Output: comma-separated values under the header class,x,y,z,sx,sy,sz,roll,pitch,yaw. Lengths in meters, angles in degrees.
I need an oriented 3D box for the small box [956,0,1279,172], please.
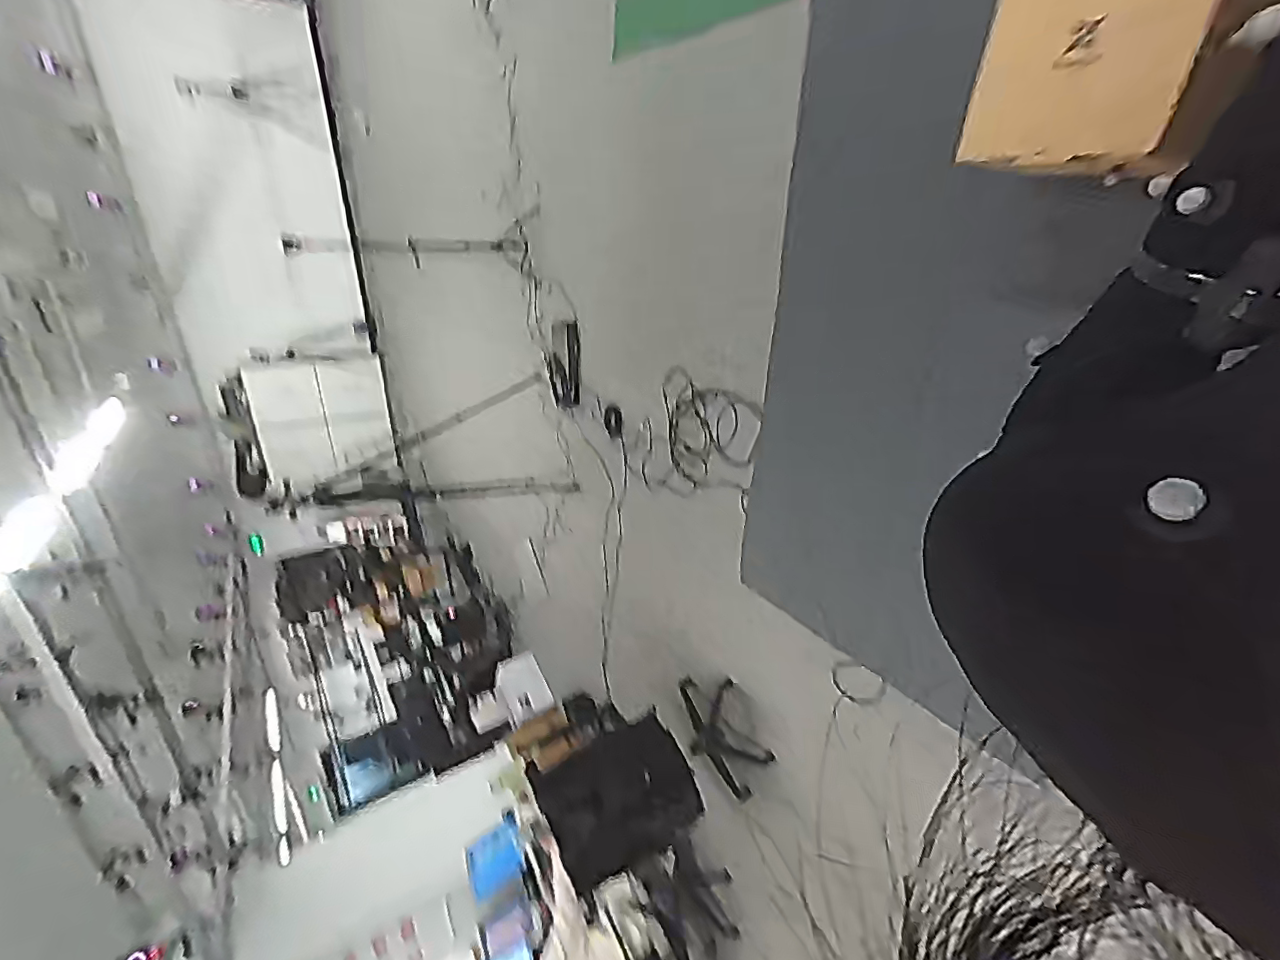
class,x,y,z,sx,sy,sz,roll,pitch,yaw
small box,0.436,-0.386,0.495,0.168,0.176,0.179,34,129,47
